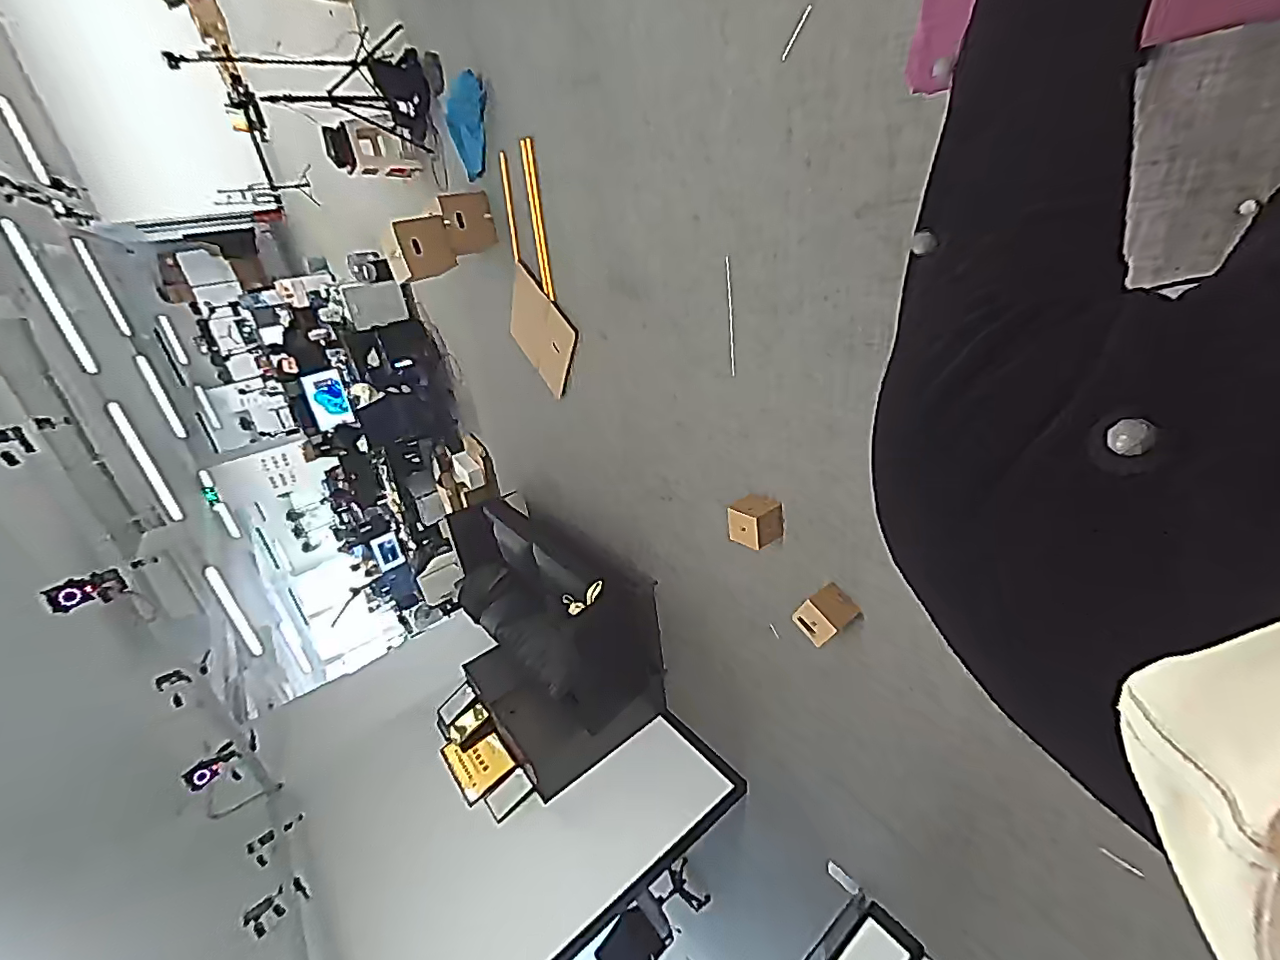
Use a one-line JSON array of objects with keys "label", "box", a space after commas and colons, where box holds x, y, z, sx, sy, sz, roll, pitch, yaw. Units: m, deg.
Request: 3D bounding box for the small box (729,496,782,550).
[{"label": "small box", "box": [0.524, 0.187, 2.433, 0.179, 0.176, 0.168, 22, 128, 50]}]
